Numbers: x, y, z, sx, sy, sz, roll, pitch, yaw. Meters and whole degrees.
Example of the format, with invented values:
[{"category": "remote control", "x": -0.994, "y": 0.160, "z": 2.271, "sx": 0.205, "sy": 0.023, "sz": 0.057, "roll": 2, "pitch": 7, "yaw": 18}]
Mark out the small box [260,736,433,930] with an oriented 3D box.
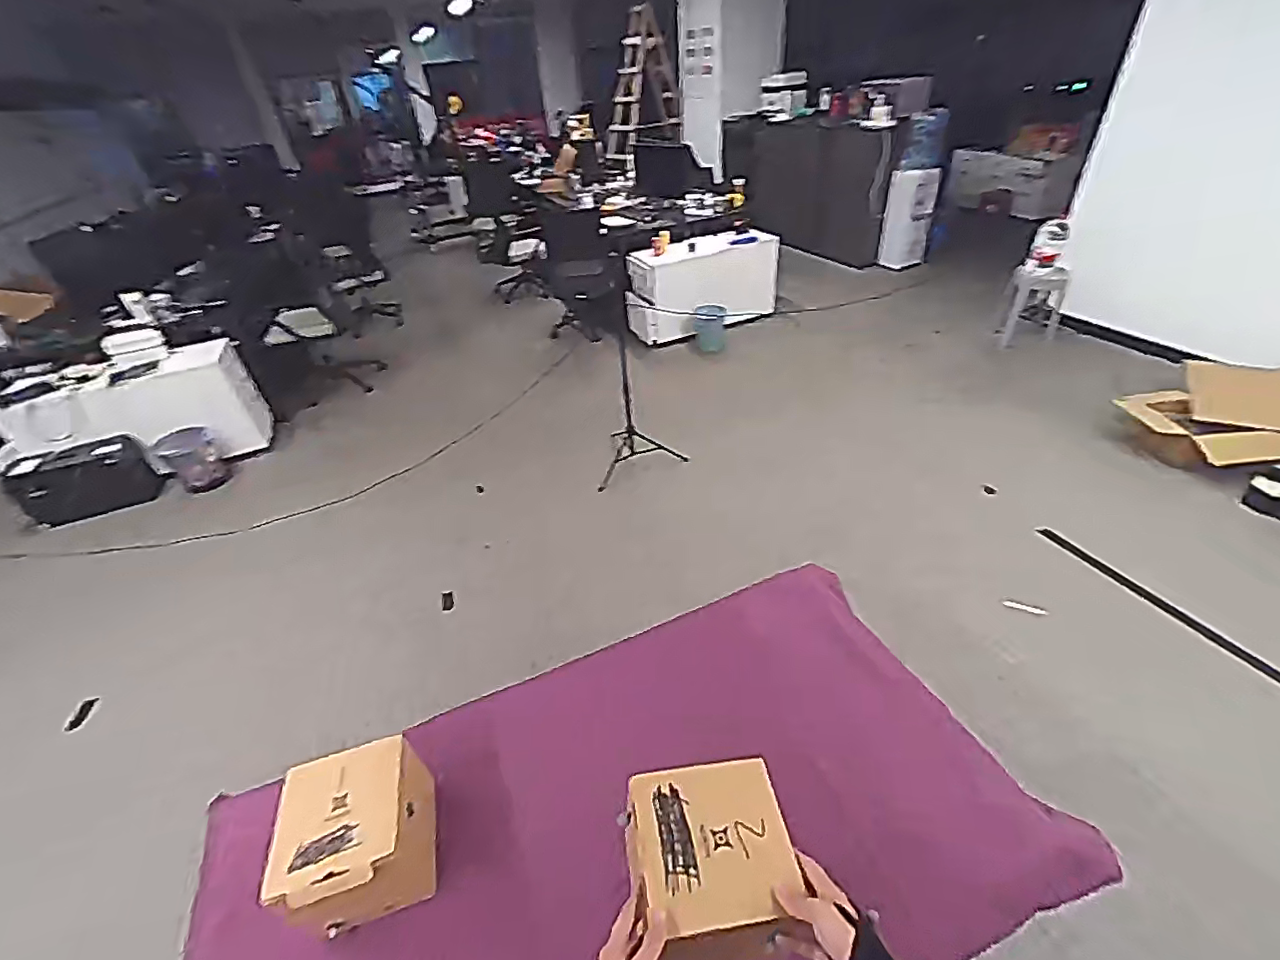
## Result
[{"category": "small box", "x": -0.412, "y": 0.521, "z": 0.795, "sx": 0.168, "sy": 0.176, "sz": 0.179, "roll": -15, "pitch": 38, "yaw": -12}]
